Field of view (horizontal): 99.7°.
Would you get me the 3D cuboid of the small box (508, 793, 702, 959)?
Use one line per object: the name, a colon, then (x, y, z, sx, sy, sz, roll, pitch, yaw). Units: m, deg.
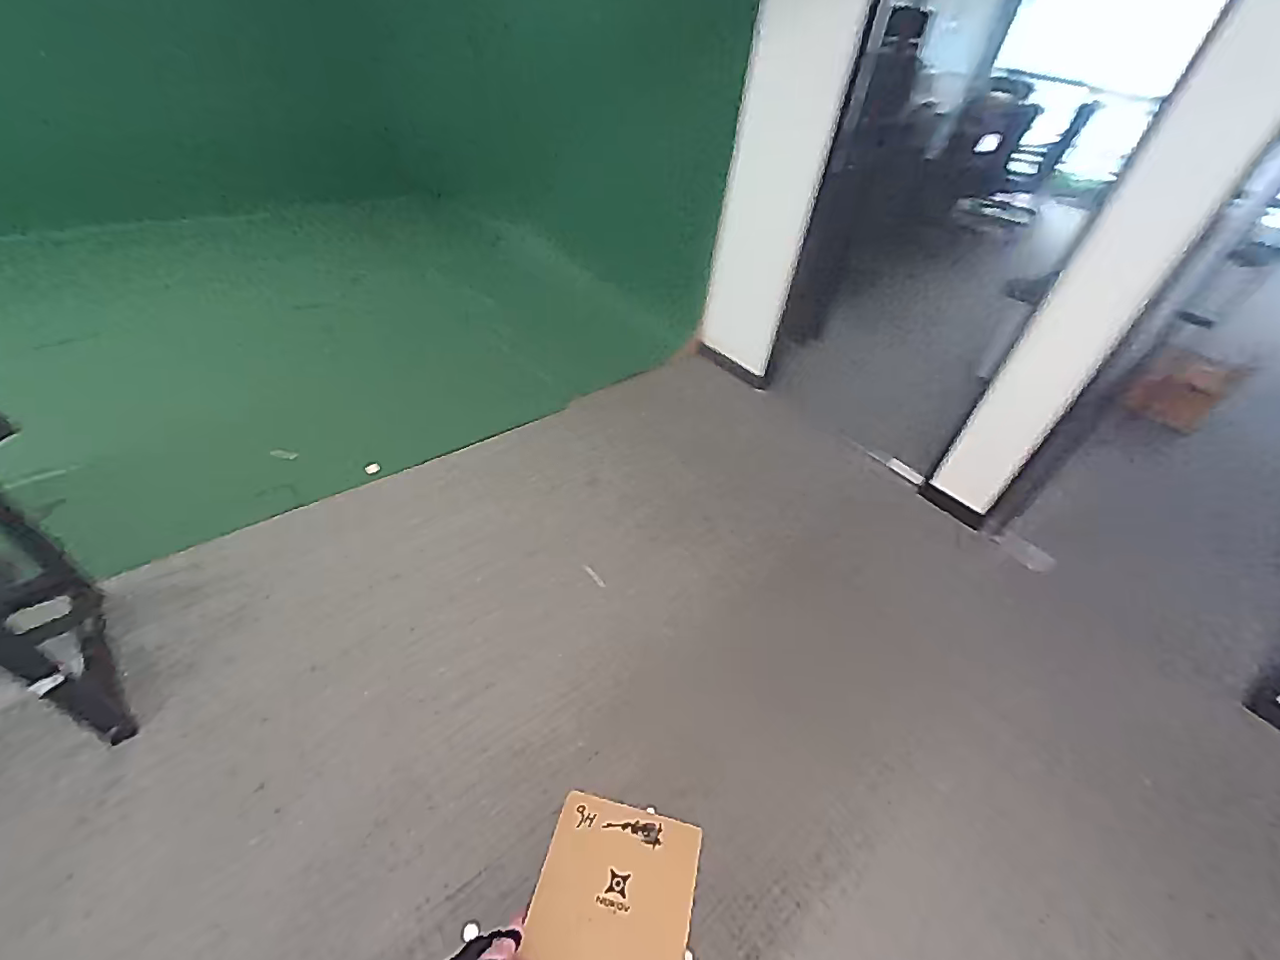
small box: (-0.033, 0.494, 0.600, 0.168, 0.176, 0.179, 11, 37, 9)
